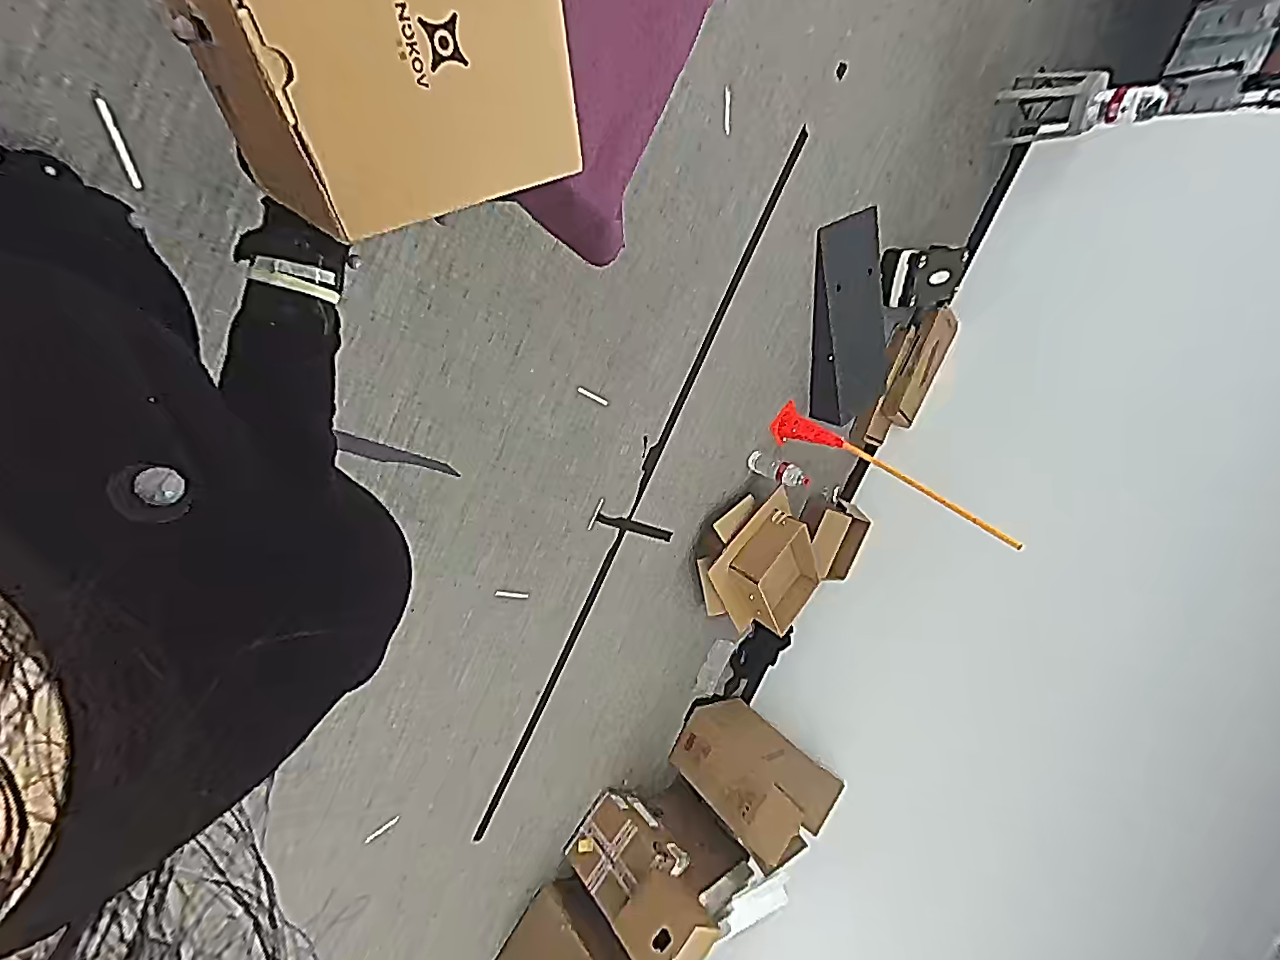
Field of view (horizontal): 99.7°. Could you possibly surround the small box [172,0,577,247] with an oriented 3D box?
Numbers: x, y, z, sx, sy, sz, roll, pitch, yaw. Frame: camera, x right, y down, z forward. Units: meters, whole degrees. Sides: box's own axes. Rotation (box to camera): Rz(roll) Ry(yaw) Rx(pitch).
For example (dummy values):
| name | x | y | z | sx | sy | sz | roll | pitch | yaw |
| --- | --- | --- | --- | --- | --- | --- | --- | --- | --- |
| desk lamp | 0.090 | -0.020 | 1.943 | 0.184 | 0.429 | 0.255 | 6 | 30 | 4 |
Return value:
| name | x | y | z | sx | sy | sz | roll | pitch | yaw |
| --- | --- | --- | --- | --- | --- | --- | --- | --- | --- |
| small box | -0.167 | -0.278 | 0.347 | 0.179 | 0.176 | 0.168 | -34 | 141 | -26 |
